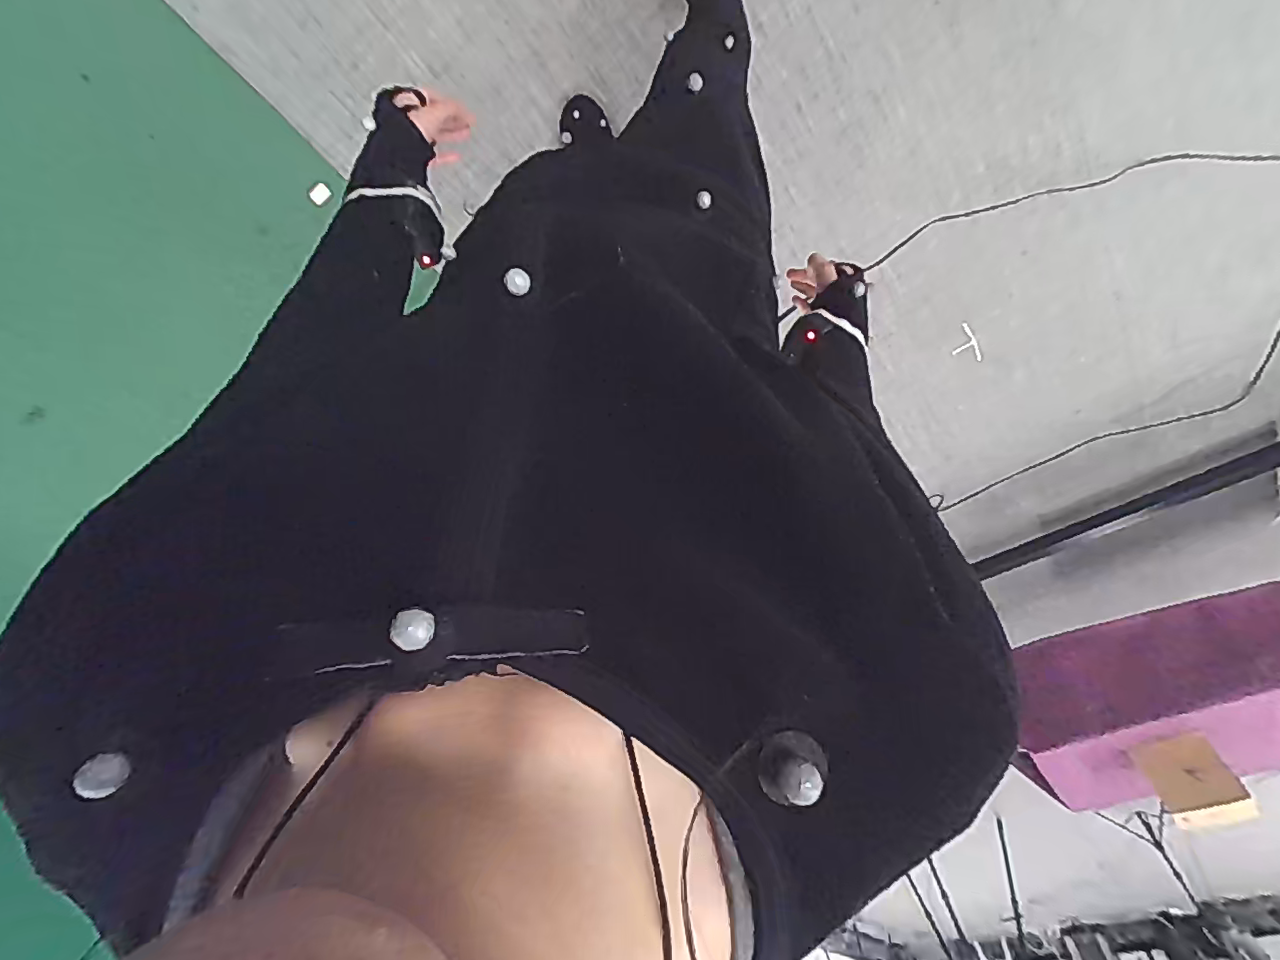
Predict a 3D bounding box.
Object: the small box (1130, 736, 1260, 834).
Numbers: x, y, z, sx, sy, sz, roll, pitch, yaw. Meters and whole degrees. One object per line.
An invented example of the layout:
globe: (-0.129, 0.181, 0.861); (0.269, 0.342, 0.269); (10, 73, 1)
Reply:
small box: (1.470, 0.809, 1.438); (0.179, 0.176, 0.168); (-33, 123, 24)
